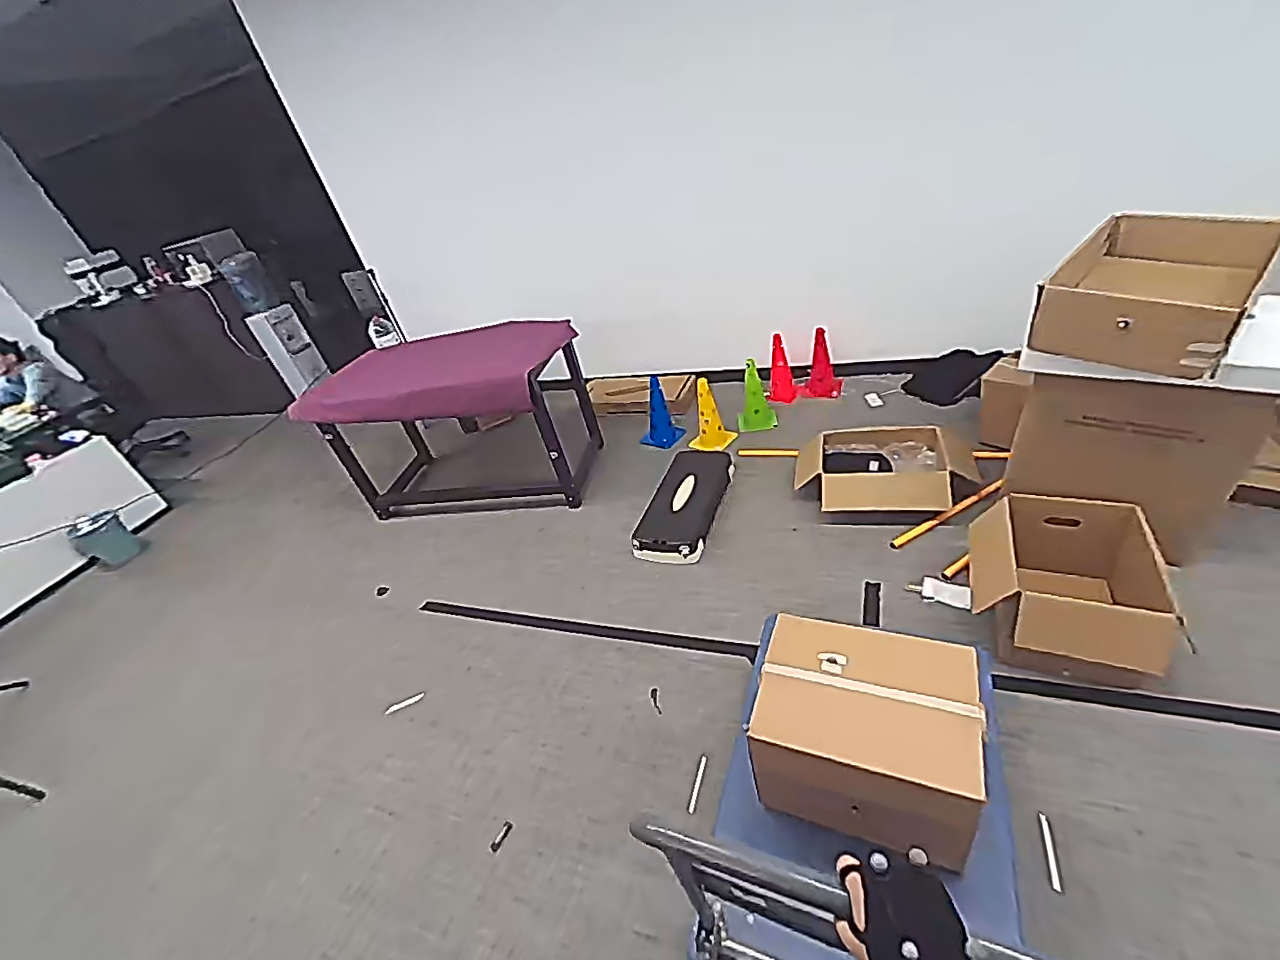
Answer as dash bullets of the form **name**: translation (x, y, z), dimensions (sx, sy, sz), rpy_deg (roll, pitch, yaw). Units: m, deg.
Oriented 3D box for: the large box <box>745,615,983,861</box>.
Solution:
- **large box**: translation (0.473, 0.532, 1.158), dimensions (0.408, 0.320, 0.320), rpy_deg (3, 38, 26)
